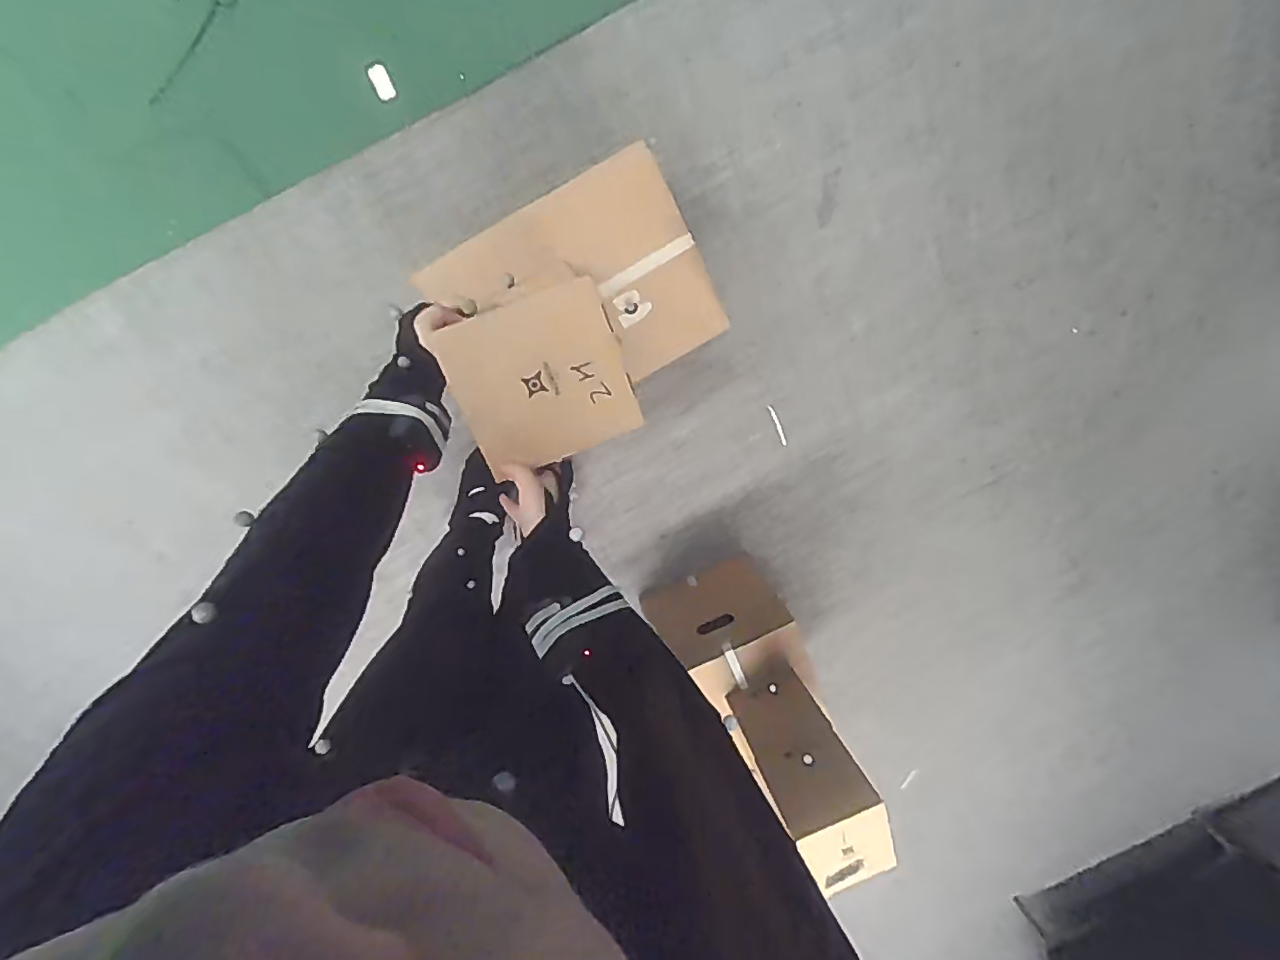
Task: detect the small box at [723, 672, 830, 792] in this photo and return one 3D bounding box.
[{"bbox_3d":[0.292,0.546,1.140,0.168,0.176,0.179,-21,113,-4],"label":"small box"}]

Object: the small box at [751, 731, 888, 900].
[{"bbox_3d":[0.322,0.605,0.990,0.168,0.176,0.179,-20,112,-5],"label":"small box"}]

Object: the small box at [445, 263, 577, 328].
[{"bbox_3d":[-0.149,-0.194,0.777,0.179,0.176,0.168,-26,113,-1],"label":"small box"}]

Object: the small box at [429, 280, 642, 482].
[{"bbox_3d":[-0.115,-0.122,0.631,0.179,0.176,0.168,-21,112,-4],"label":"small box"}]

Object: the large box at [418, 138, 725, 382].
[{"bbox_3d":[-0.121,-0.334,0.995,0.408,0.320,0.320,-30,113,1],"label":"large box"}]
